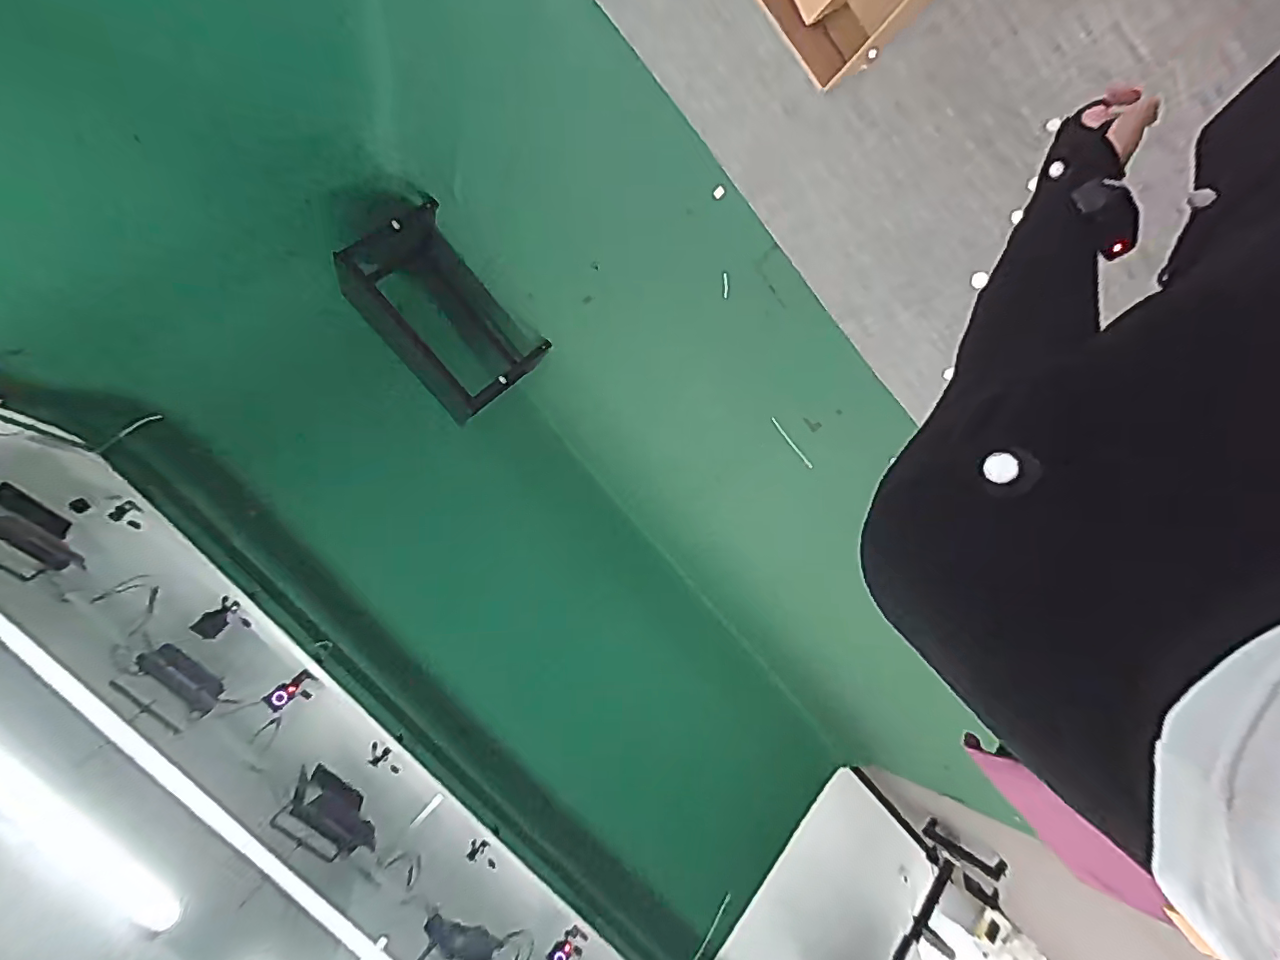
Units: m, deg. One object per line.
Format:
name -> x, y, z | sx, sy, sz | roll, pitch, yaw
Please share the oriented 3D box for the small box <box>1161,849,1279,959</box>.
small box -> 1.422, 1.048, 1.300 | 0.179, 0.176, 0.168 | 49, 158, -9
